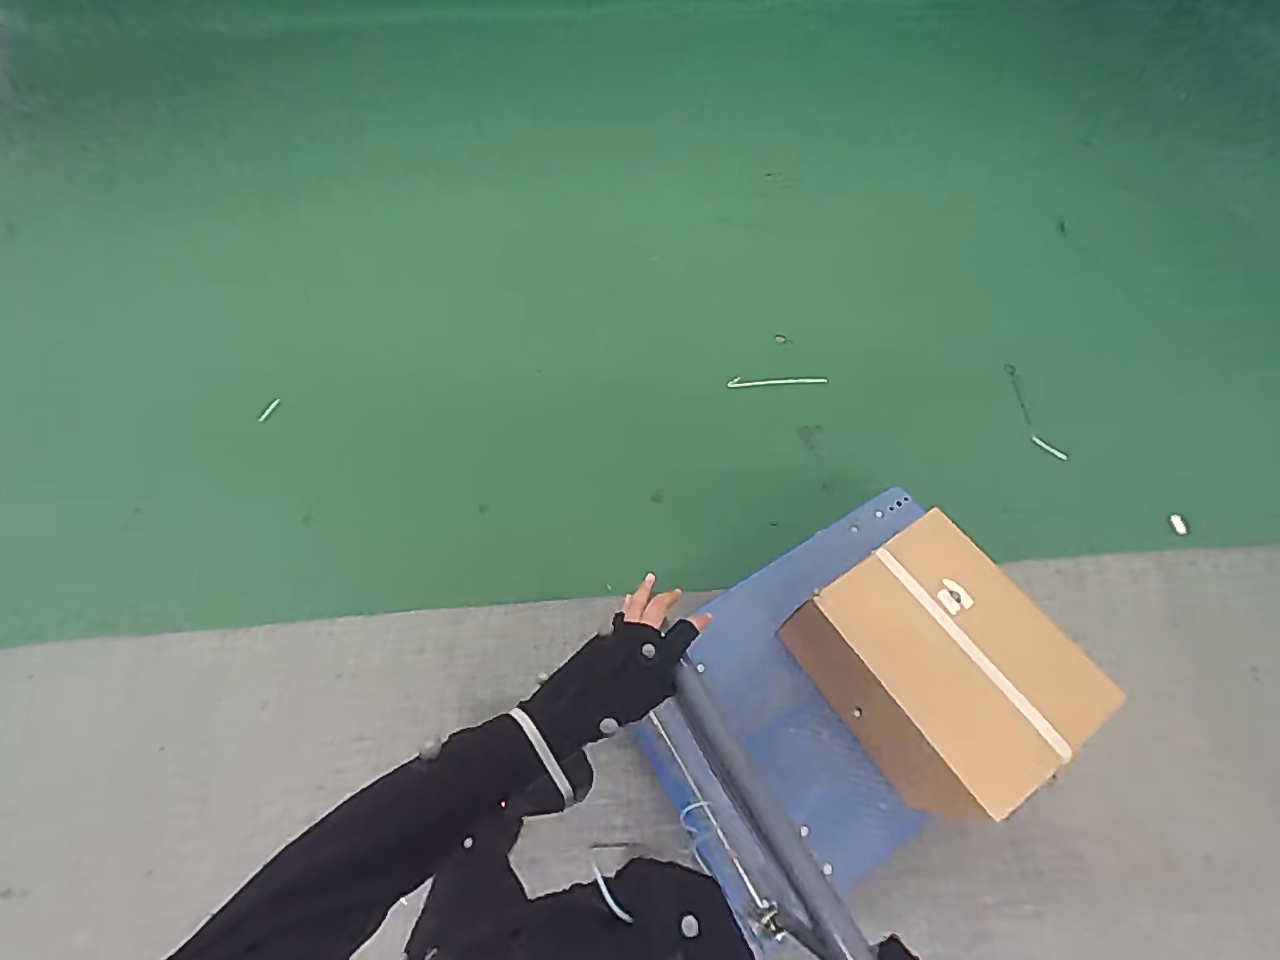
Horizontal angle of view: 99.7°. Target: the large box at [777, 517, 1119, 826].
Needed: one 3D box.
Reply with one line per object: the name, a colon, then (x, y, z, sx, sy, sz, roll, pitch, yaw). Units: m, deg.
large box: (0.528, 0.354, 1.026, 0.320, 0.320, 0.408, -31, 65, -14)
